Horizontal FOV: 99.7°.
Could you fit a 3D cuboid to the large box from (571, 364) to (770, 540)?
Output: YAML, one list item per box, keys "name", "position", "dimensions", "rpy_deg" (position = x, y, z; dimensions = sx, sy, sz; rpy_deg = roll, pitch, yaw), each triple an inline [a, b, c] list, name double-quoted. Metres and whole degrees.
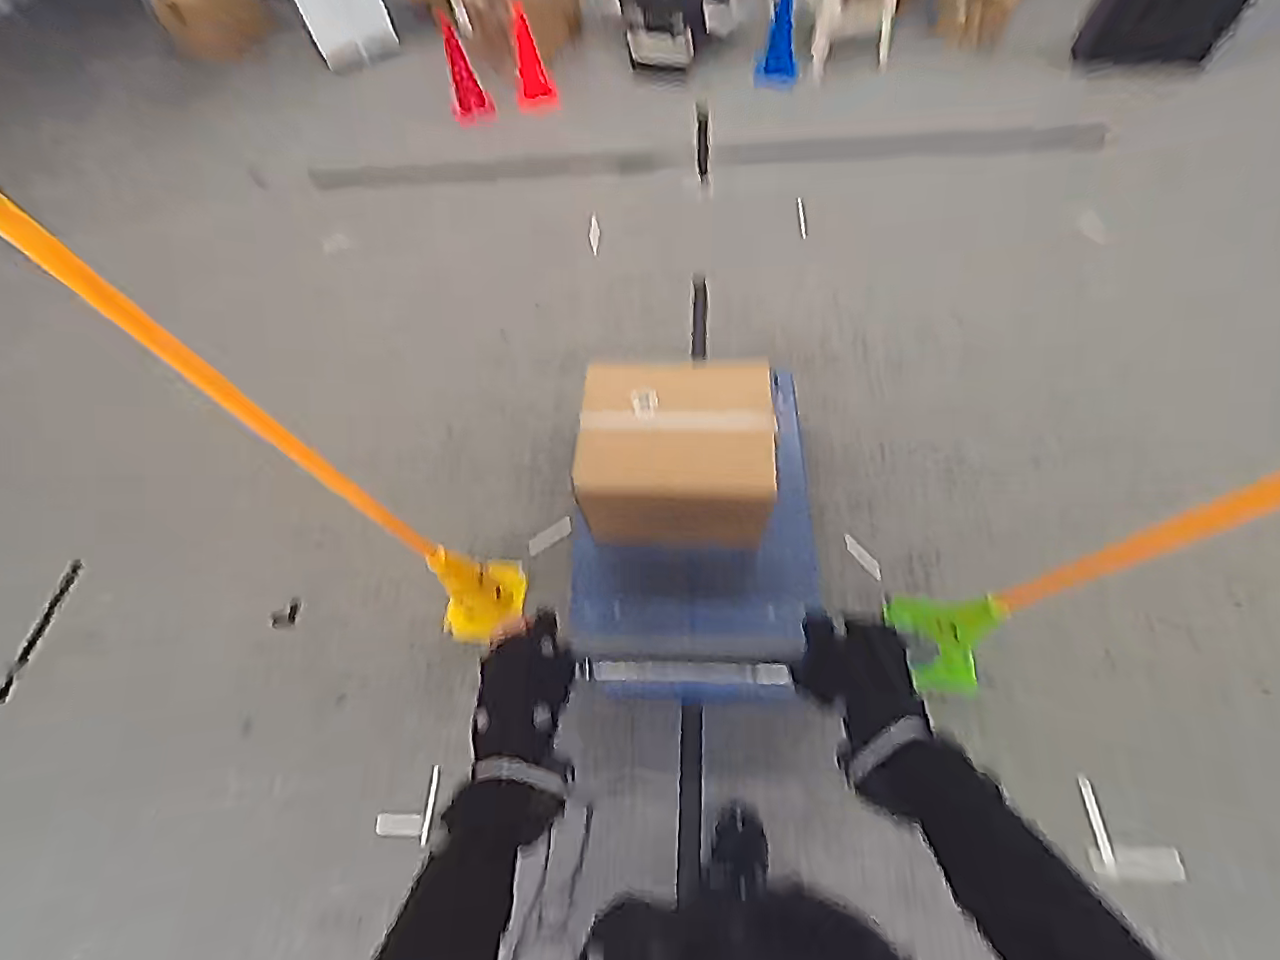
- name: "large box"
  position: [0.078, -0.051, 1.267]
  dimensions: [0.408, 0.320, 0.320]
  rpy_deg: [1, 64, 6]

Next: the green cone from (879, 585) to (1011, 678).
- name: "green cone"
  position: [0.692, 0.303, 1.189]
  dimensions: [0.202, 0.368, 0.200]
  rpy_deg: [4, 64, 6]
